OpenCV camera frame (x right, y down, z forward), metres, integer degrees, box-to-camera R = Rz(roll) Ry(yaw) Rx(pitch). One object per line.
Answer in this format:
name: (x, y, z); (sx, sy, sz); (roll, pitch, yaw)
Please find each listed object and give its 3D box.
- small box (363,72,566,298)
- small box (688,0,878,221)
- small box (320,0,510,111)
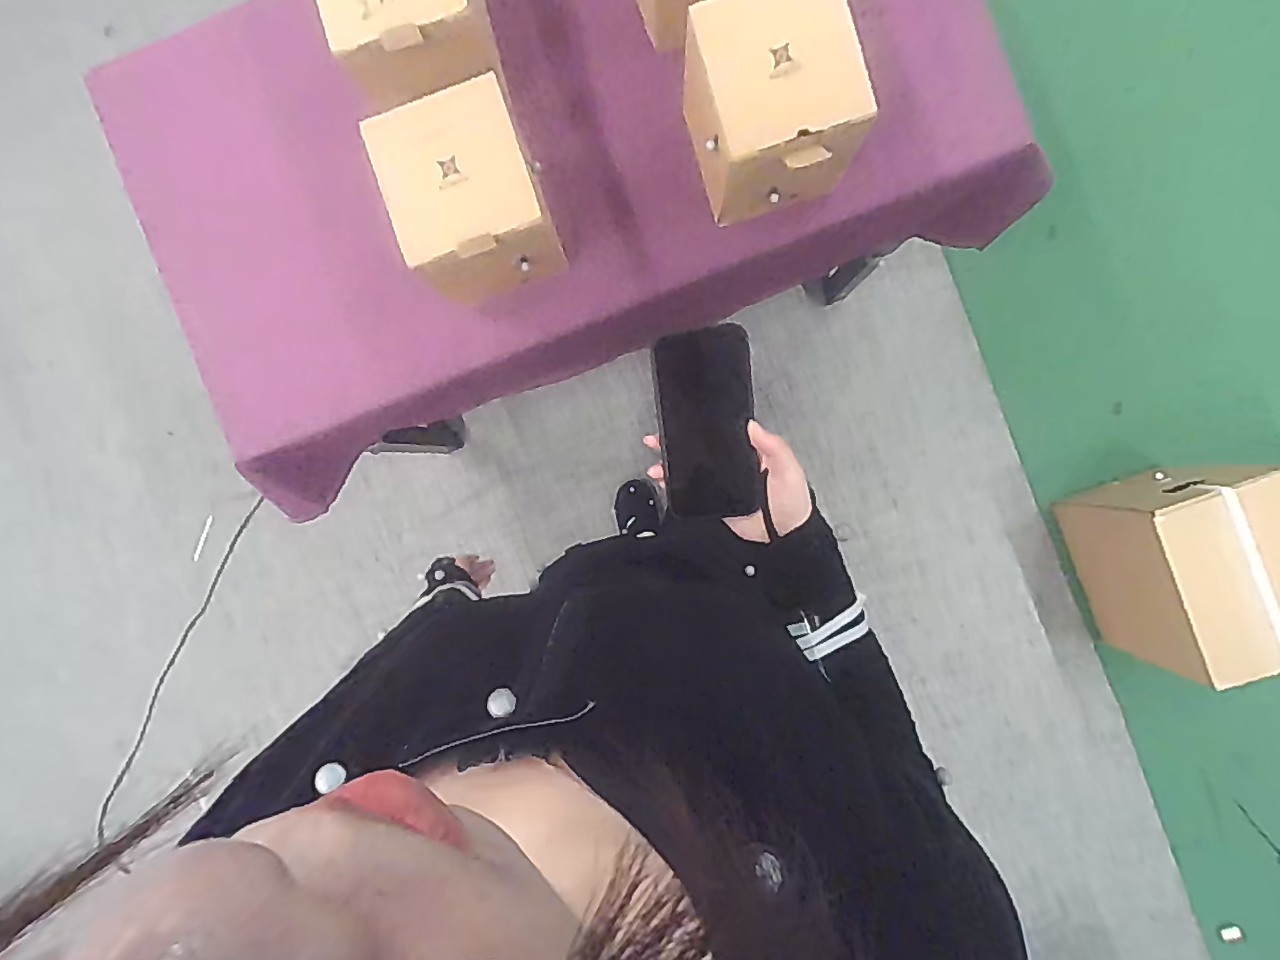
small box: (-0.205, -0.349, 0.683); (0.168, 0.176, 0.179); (-18, 90, 3)
small box: (0.158, -0.455, 0.660); (0.168, 0.176, 0.179); (-16, 92, 4)
small box: (-0.280, -0.584, 0.676); (0.168, 0.176, 0.179); (-14, 92, 4)
